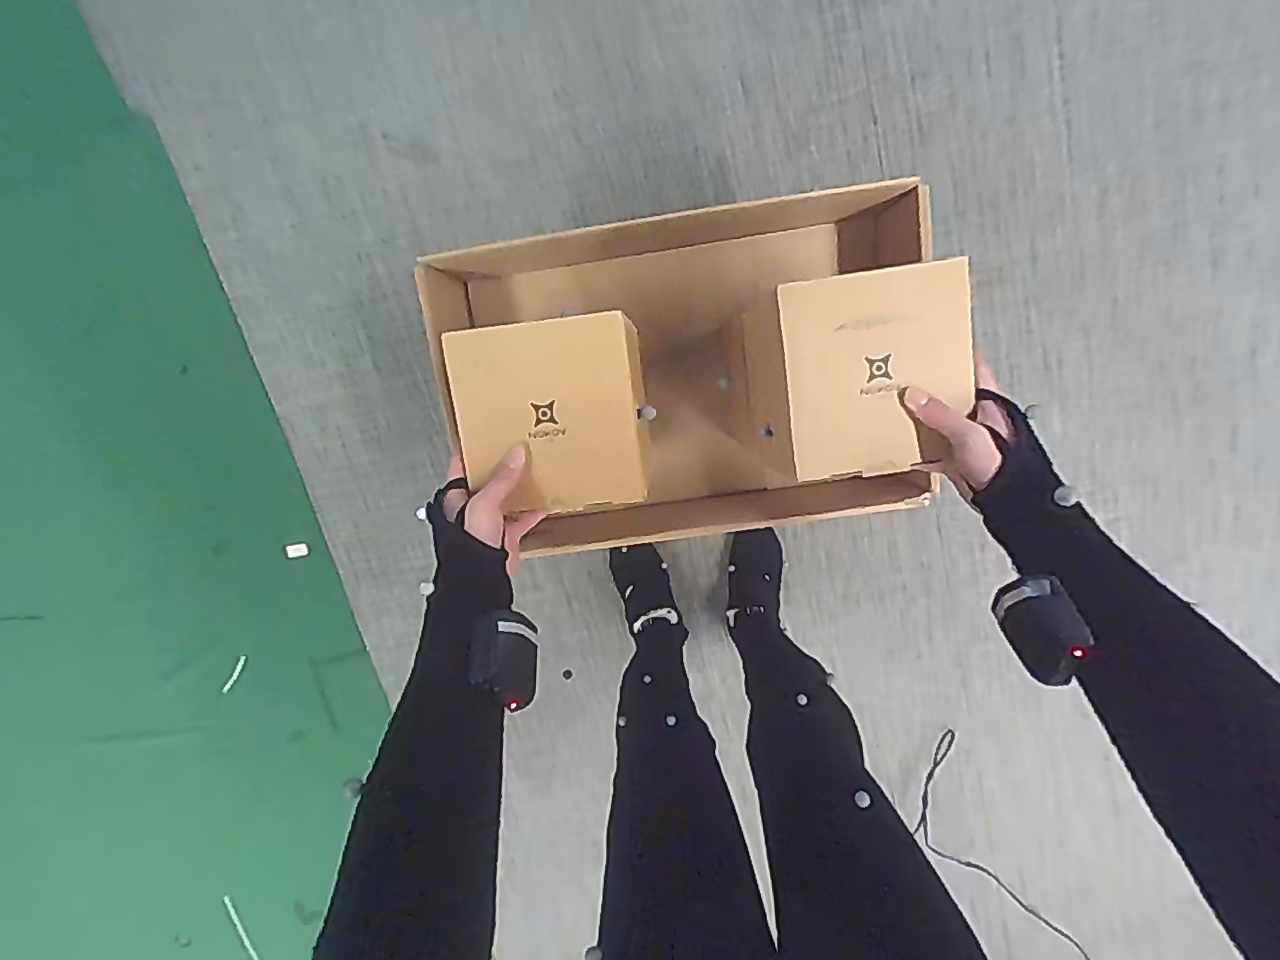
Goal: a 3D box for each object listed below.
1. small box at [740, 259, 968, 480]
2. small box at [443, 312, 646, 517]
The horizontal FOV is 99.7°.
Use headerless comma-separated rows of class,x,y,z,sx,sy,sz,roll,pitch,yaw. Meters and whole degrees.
small box,0.203,-0.105,0.552,0.168,0.176,0.179,-8,97,1
small box,-0.086,-0.072,0.578,0.168,0.176,0.179,-6,102,5
